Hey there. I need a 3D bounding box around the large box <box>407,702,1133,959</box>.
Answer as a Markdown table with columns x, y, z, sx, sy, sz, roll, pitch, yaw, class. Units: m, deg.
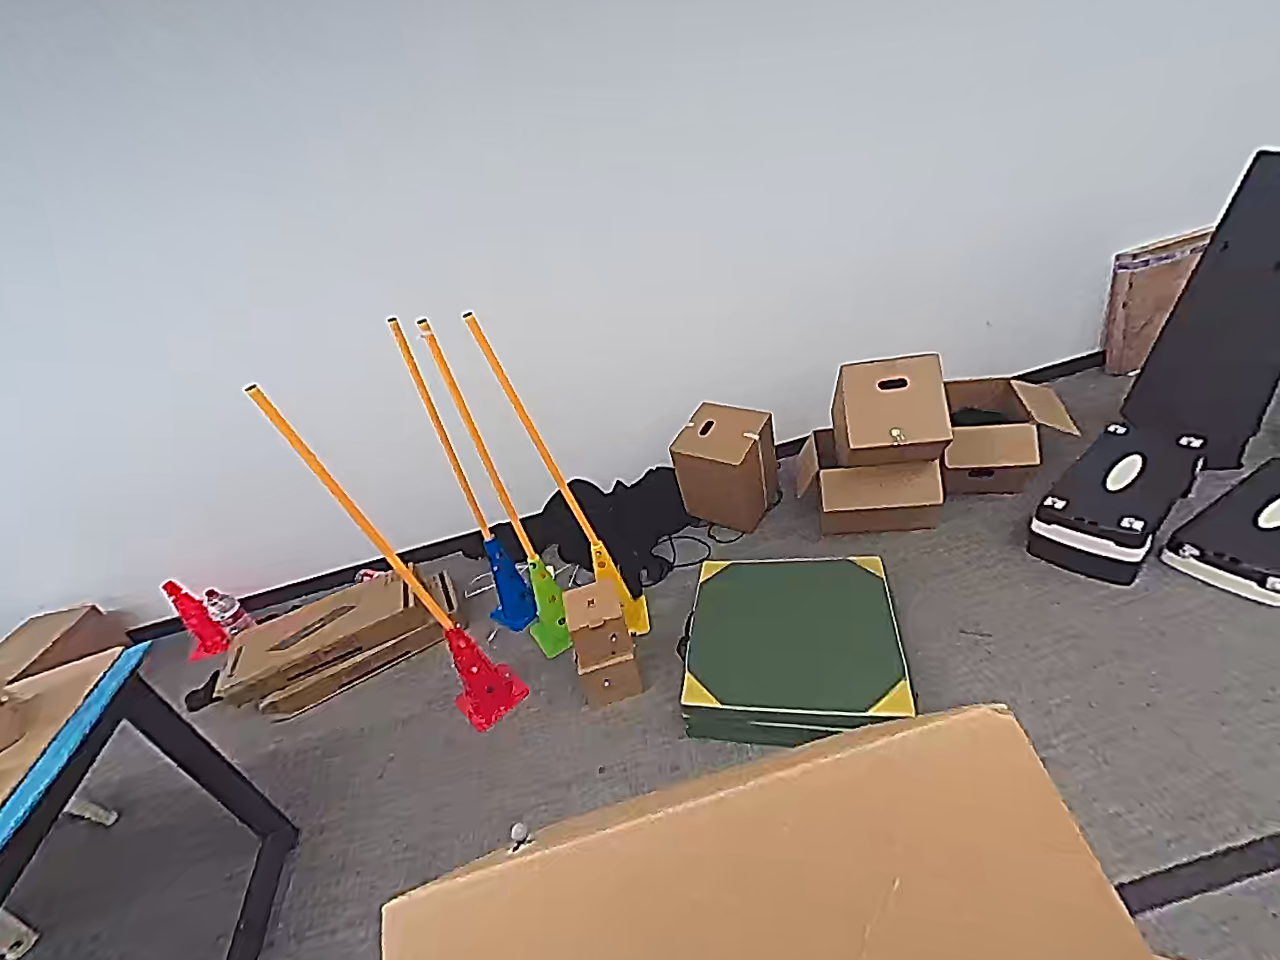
| x | y | z | sx | sy | sz | roll | pitch | yaw | class |
| --- | --- | --- | --- | --- | --- | --- | --- | --- | --- |
| 0.099 | 0.402 | 0.410 | 0.408 | 0.320 | 0.320 | -18 | 63 | -1 | large box |
